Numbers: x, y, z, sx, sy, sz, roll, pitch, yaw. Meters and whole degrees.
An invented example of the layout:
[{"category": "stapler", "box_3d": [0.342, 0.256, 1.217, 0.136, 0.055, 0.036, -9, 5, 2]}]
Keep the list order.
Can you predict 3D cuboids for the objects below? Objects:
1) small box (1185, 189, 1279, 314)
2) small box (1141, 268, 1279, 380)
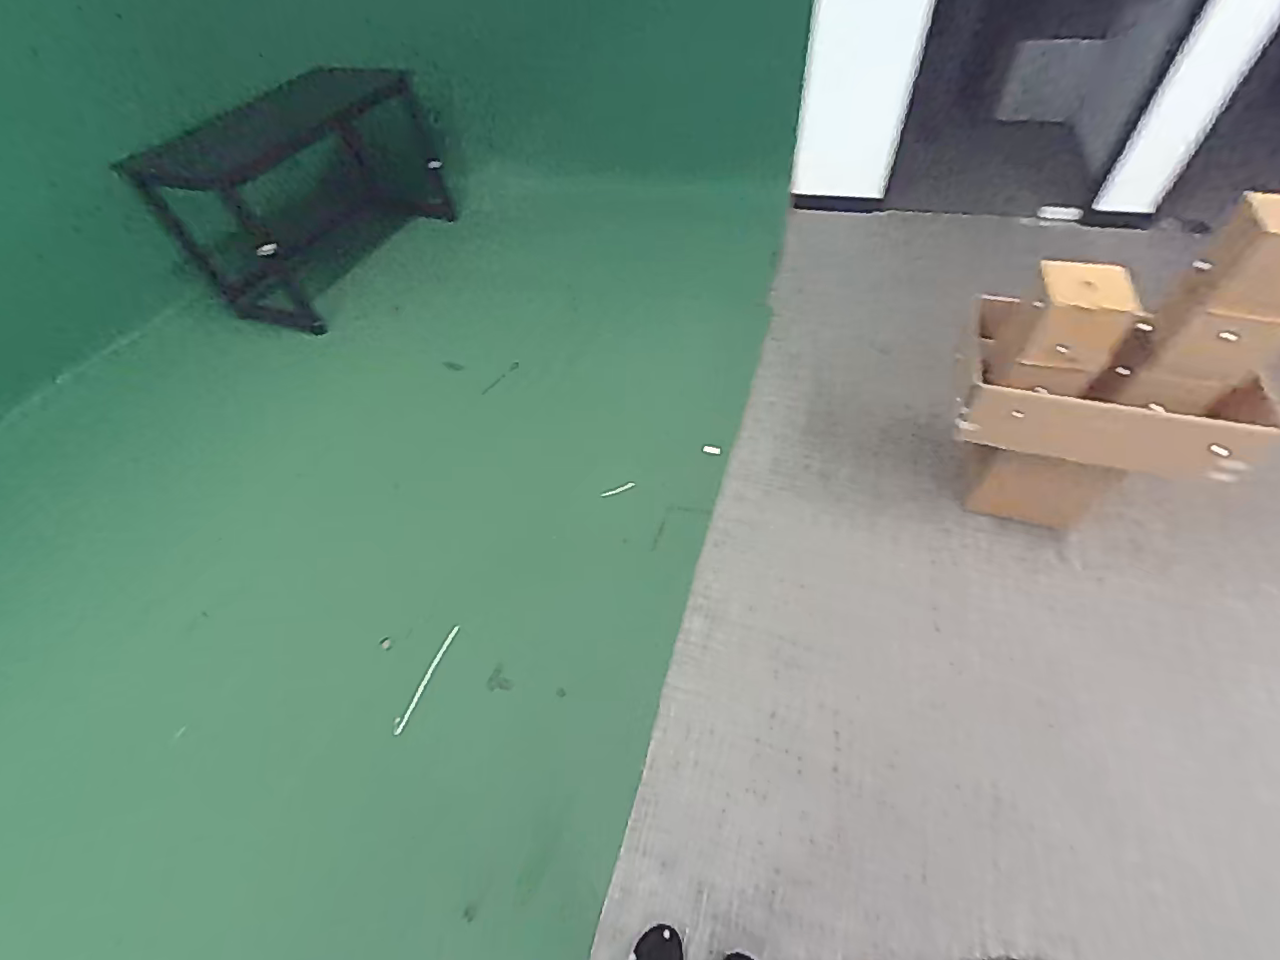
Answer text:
[{"category": "small box", "box_3d": [1.258, -0.451, 1.076, 0.179, 0.176, 0.168, 14, 54, 18]}, {"category": "small box", "box_3d": [1.264, -0.344, 1.200, 0.179, 0.176, 0.168, 15, 55, 17]}]
